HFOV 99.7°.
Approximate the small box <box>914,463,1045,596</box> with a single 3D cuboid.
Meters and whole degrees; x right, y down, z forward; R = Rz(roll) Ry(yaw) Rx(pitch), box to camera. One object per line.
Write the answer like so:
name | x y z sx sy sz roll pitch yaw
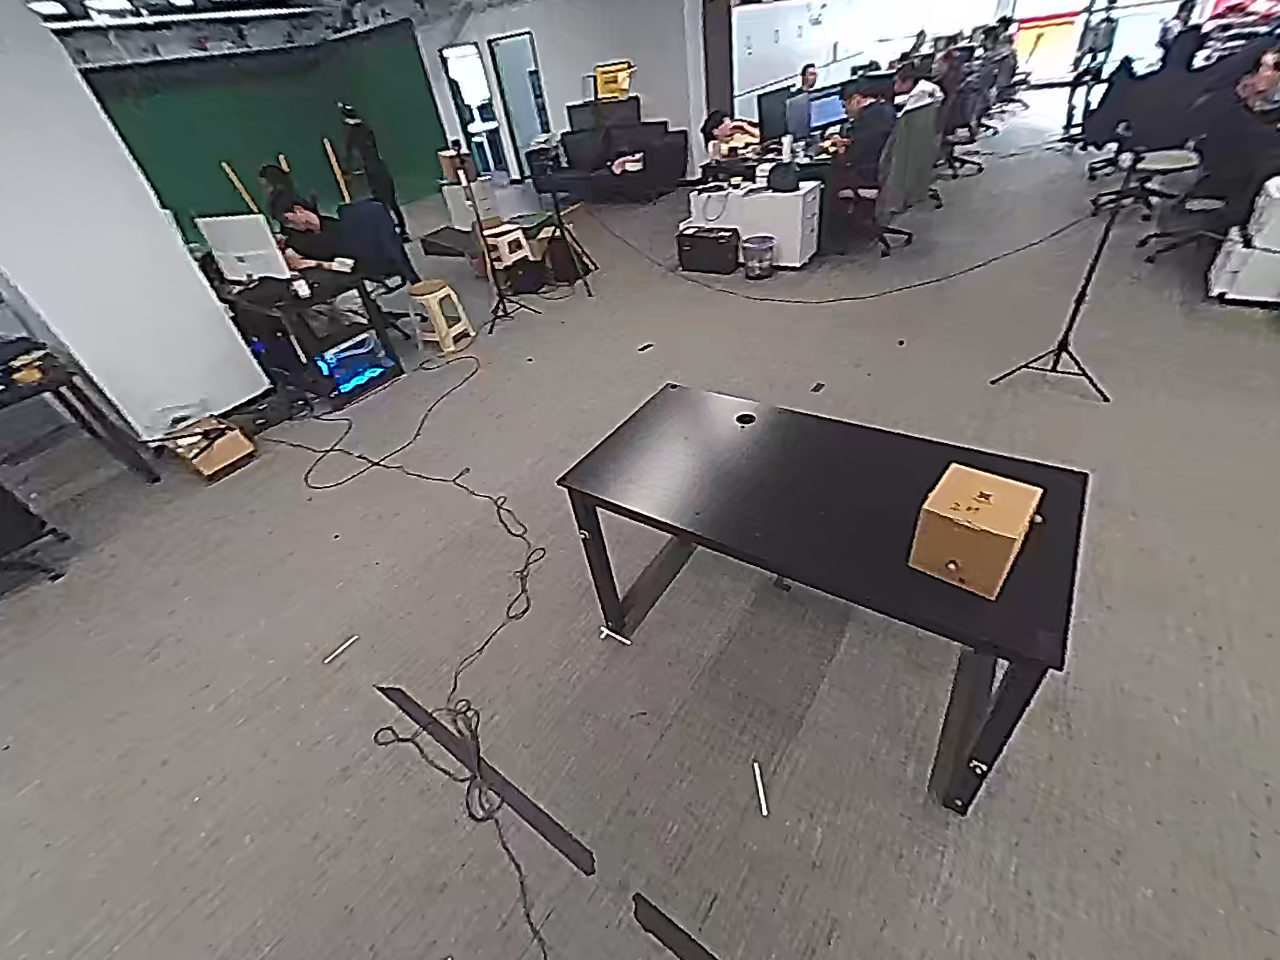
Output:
small box | 0.679 0.098 1.096 0.168 0.176 0.179 24 49 37
